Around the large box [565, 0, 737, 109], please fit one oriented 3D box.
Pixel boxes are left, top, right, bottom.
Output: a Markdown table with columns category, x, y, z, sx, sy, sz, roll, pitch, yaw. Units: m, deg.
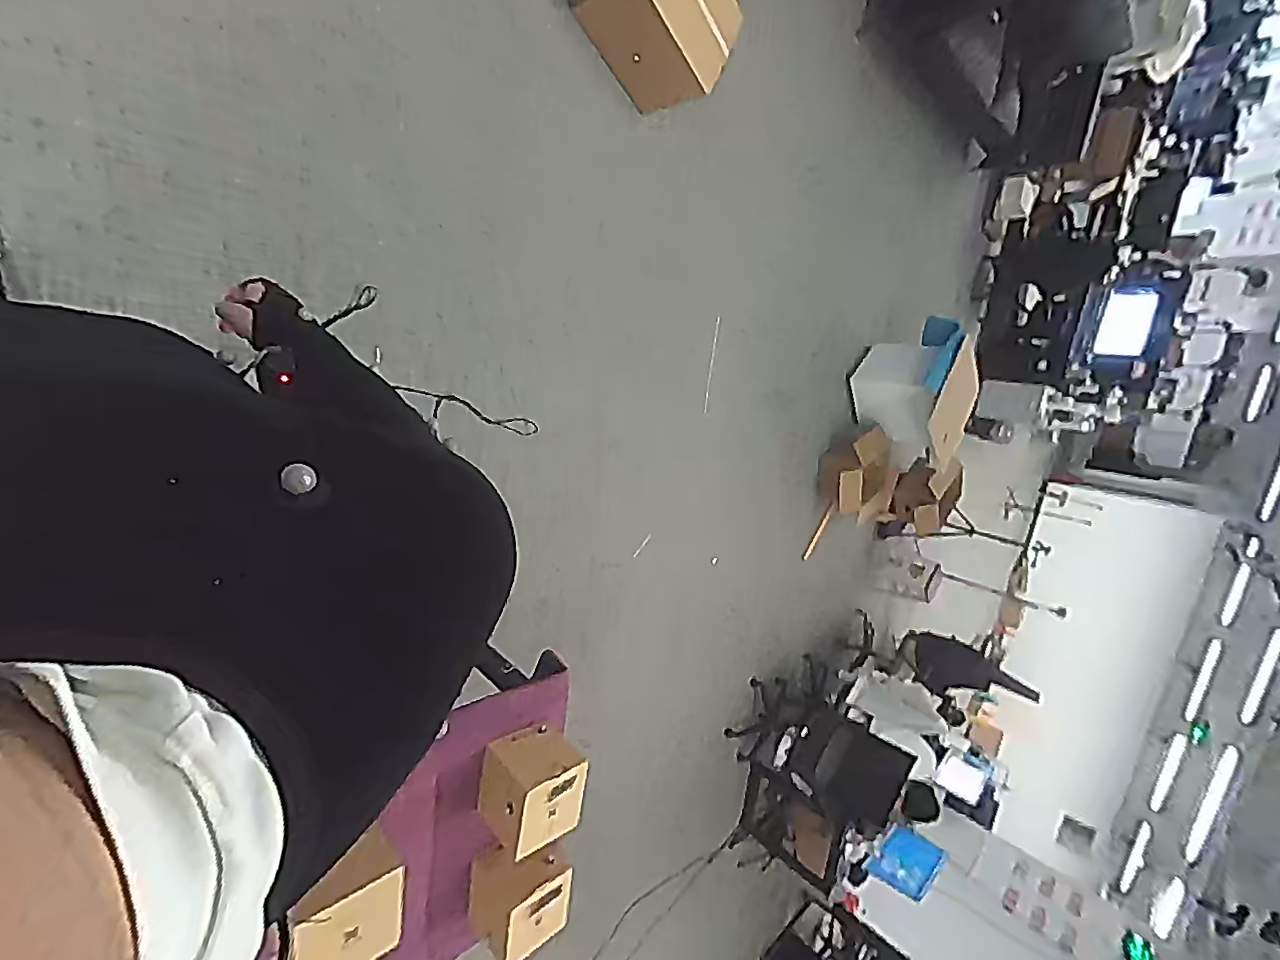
| category | x | y | z | sx | sy | sz | roll | pitch | yaw |
| --- | --- | --- | --- | --- | --- | --- | --- | --- | --- |
| large box | 0.043 | -1.513 | 1.743 | 0.408 | 0.320 | 0.320 | 30 | 82 | -47 |

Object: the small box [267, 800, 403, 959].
| category | x | y | z | sx | sy | sz | roll | pitch | yaw |
| --- | --- | --- | --- | --- | --- | --- | --- | --- | --- |
| small box | -0.538 | 0.716 | 0.950 | 0.168 | 0.176 | 0.179 | -5 | 108 | -47 |

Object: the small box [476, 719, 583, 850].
| category | x | y | z | sx | sy | sz | roll | pitch | yaw |
| --- | --- | --- | --- | --- | --- | --- | --- | --- | --- |
| small box | -0.255 | 0.675 | 1.230 | 0.168 | 0.176 | 0.179 | -2 | 107 | -46 |
